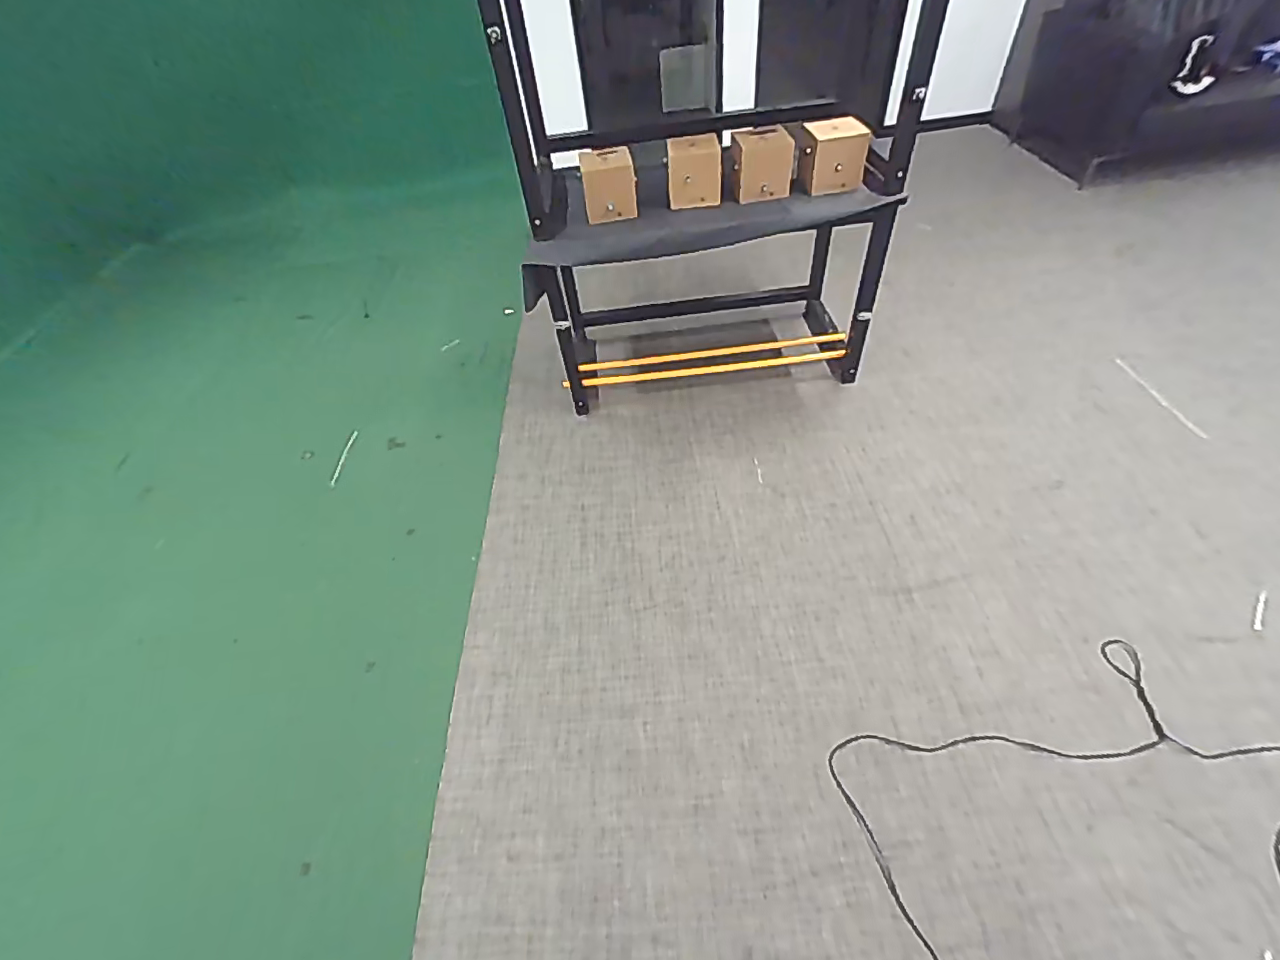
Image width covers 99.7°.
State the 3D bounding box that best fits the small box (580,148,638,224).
[{"bbox_3d":[-0.103,-0.976,1.796,0.168,0.176,0.179,-9,49,-1],"label":"small box"}]

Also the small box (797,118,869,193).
[{"bbox_3d":[0.627,-1.057,1.773,0.168,0.176,0.179,-8,47,0],"label":"small box"}]

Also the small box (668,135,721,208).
[{"bbox_3d":[0.182,-1.026,1.808,0.168,0.176,0.179,-4,48,4],"label":"small box"}]
